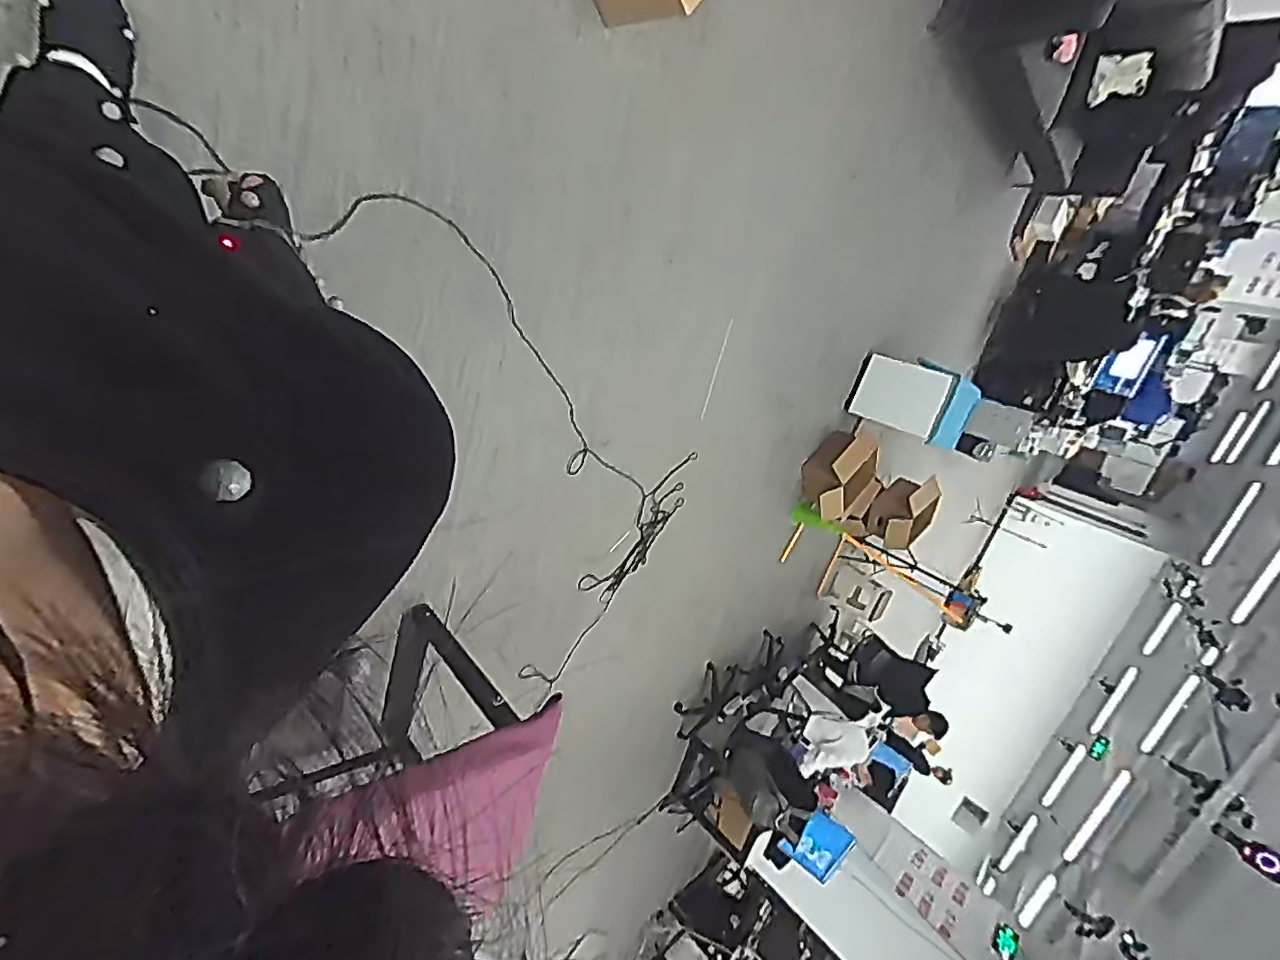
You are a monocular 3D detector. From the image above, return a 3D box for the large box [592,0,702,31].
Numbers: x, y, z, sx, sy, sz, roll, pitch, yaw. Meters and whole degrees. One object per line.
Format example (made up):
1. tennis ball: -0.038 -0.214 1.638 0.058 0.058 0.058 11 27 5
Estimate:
1. large box: 0.007 -1.407 1.296 0.320 0.320 0.408 -54 143 -7
